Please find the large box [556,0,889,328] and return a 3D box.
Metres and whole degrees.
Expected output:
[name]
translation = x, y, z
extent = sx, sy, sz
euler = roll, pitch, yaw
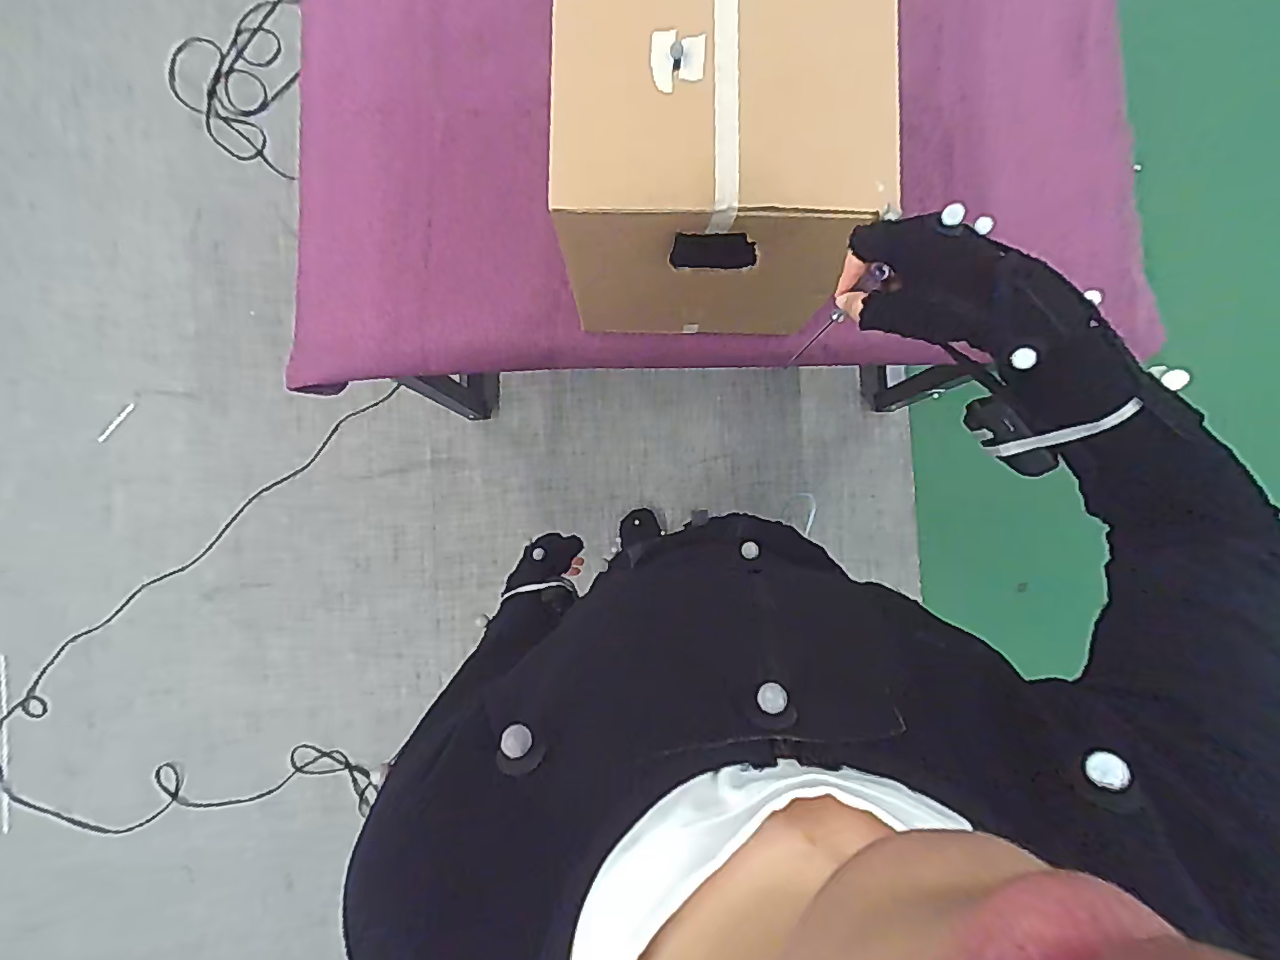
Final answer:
[large box]
translation = 0.074, -0.431, 0.652
extent = 0.320, 0.320, 0.408
euler = 1, 87, 0
